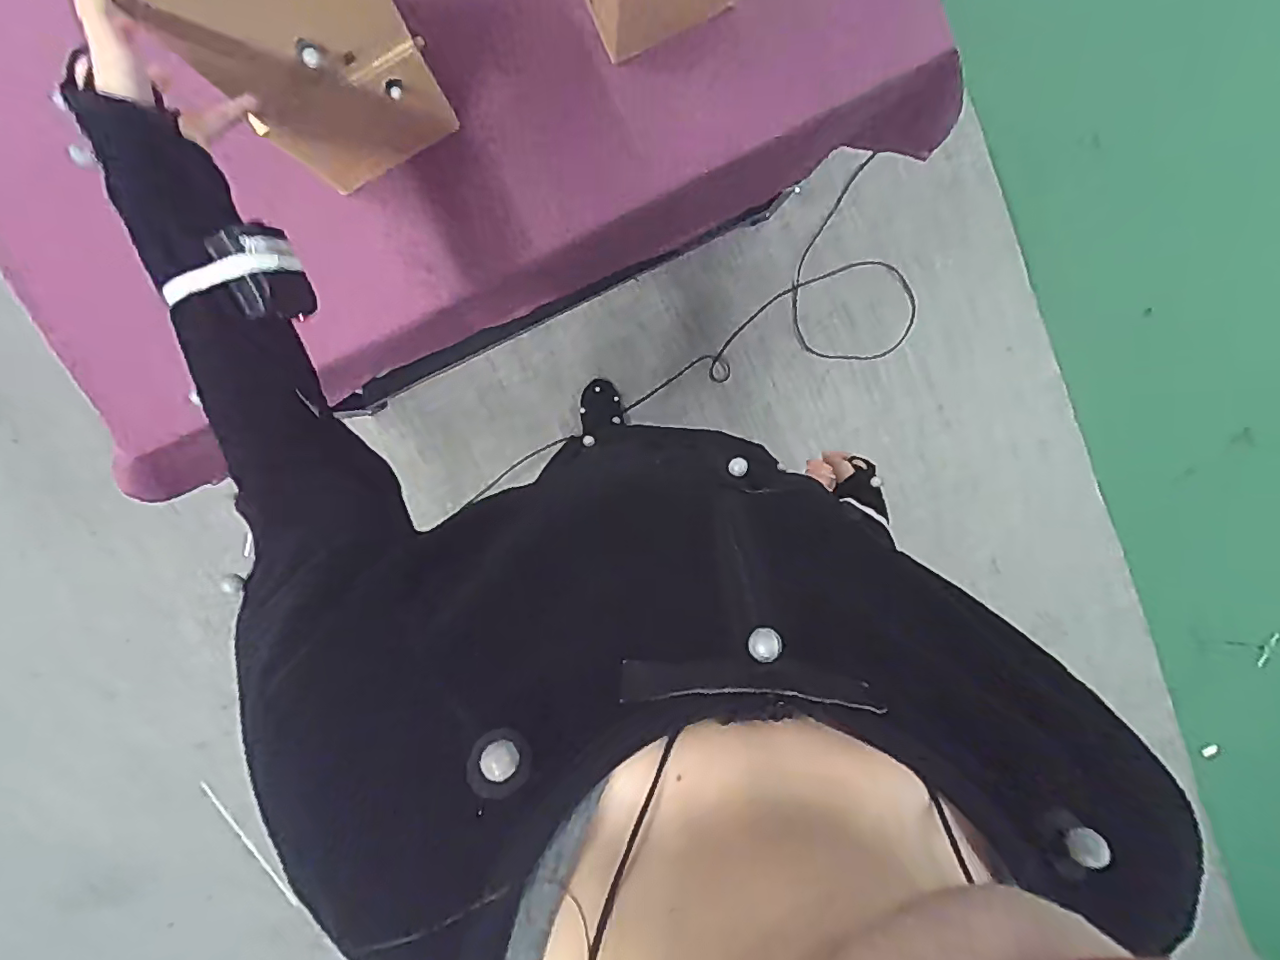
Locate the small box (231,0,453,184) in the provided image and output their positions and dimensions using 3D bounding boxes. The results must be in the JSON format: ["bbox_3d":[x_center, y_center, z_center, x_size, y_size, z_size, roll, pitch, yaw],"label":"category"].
[{"bbox_3d":[-0.336,-0.462,0.586,0.179,0.176,0.168,-30,100,1],"label":"small box"}]

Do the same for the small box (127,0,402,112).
[{"bbox_3d":[-0.326,-0.445,0.422,0.168,0.176,0.179,-30,100,2],"label":"small box"}]

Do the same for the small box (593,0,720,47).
[{"bbox_3d":[0.013,-0.621,0.576,0.179,0.176,0.168,-26,101,1],"label":"small box"}]
